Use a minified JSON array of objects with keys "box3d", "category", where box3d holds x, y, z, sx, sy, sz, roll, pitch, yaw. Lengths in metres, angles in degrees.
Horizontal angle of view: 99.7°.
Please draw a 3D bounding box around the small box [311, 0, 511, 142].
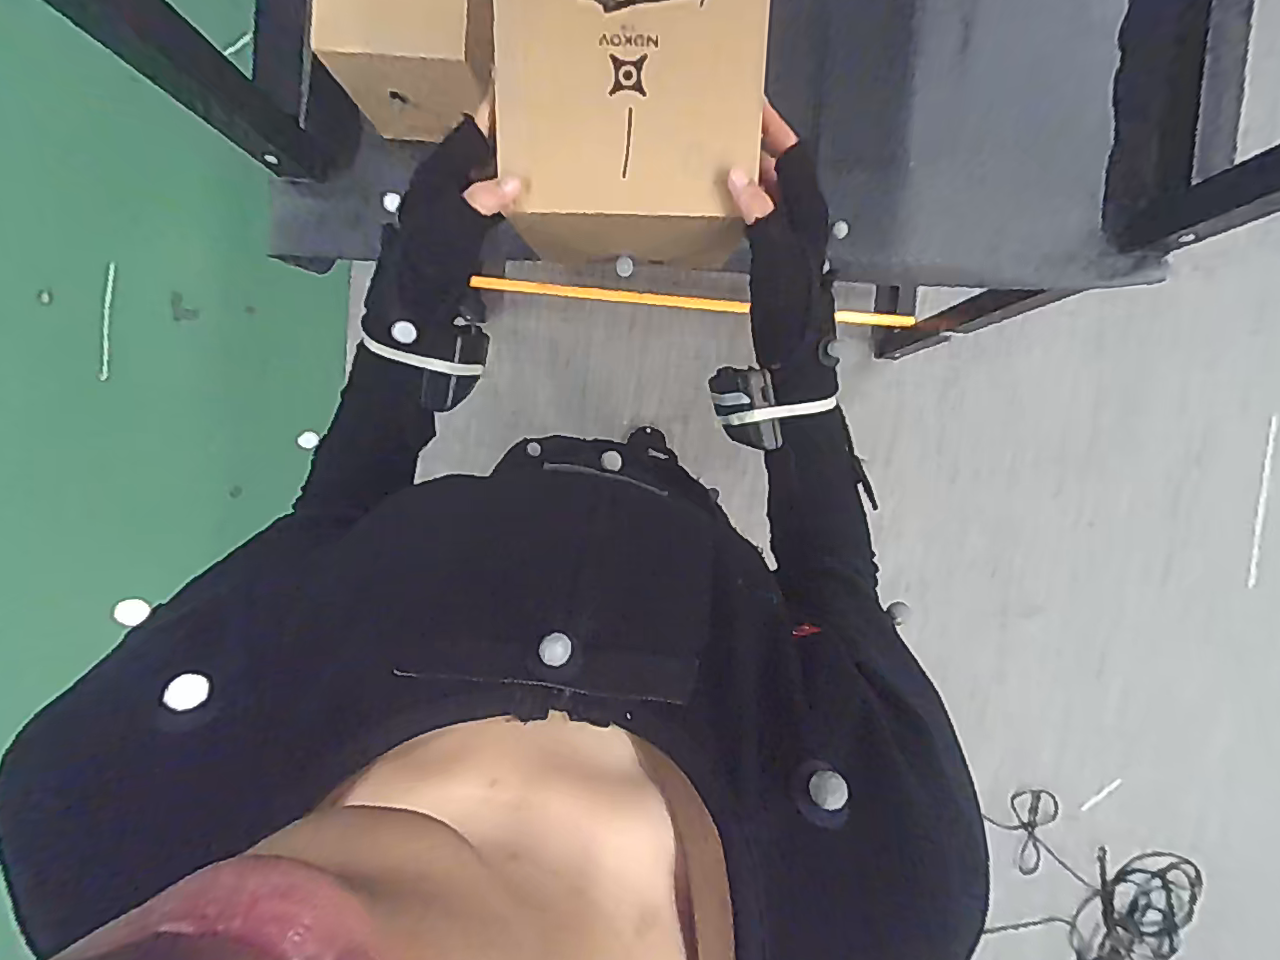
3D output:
[{"box3d":[-0.255,-0.534,0.639,0.168,0.176,0.179,4,92,0],"category":"small box"}]
